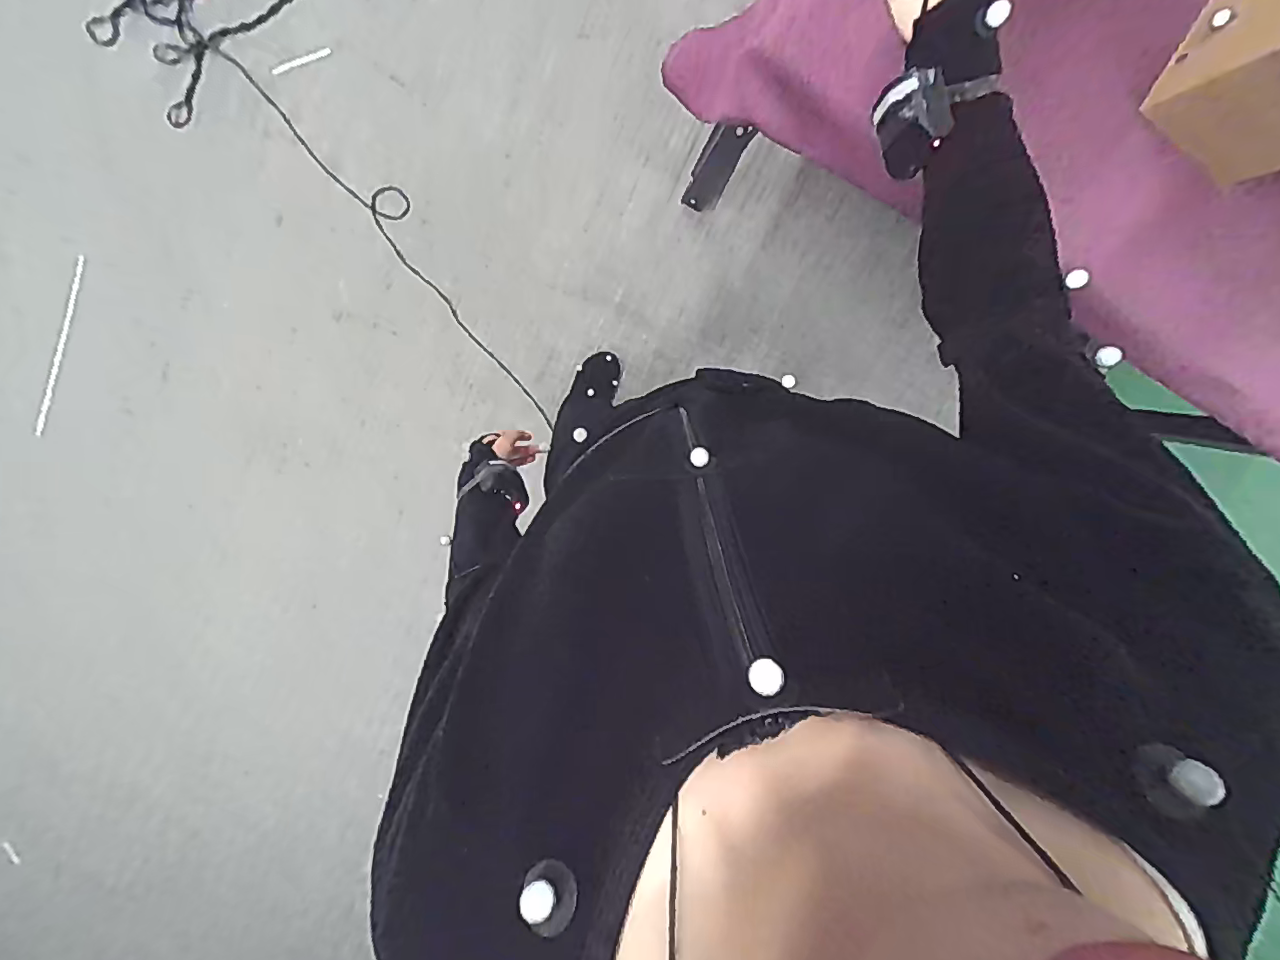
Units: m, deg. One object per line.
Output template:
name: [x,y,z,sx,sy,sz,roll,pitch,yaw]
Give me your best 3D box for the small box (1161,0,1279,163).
small box: [0.774,-0.494,0.610,0.179,0.176,0.168,28,99,-9]
